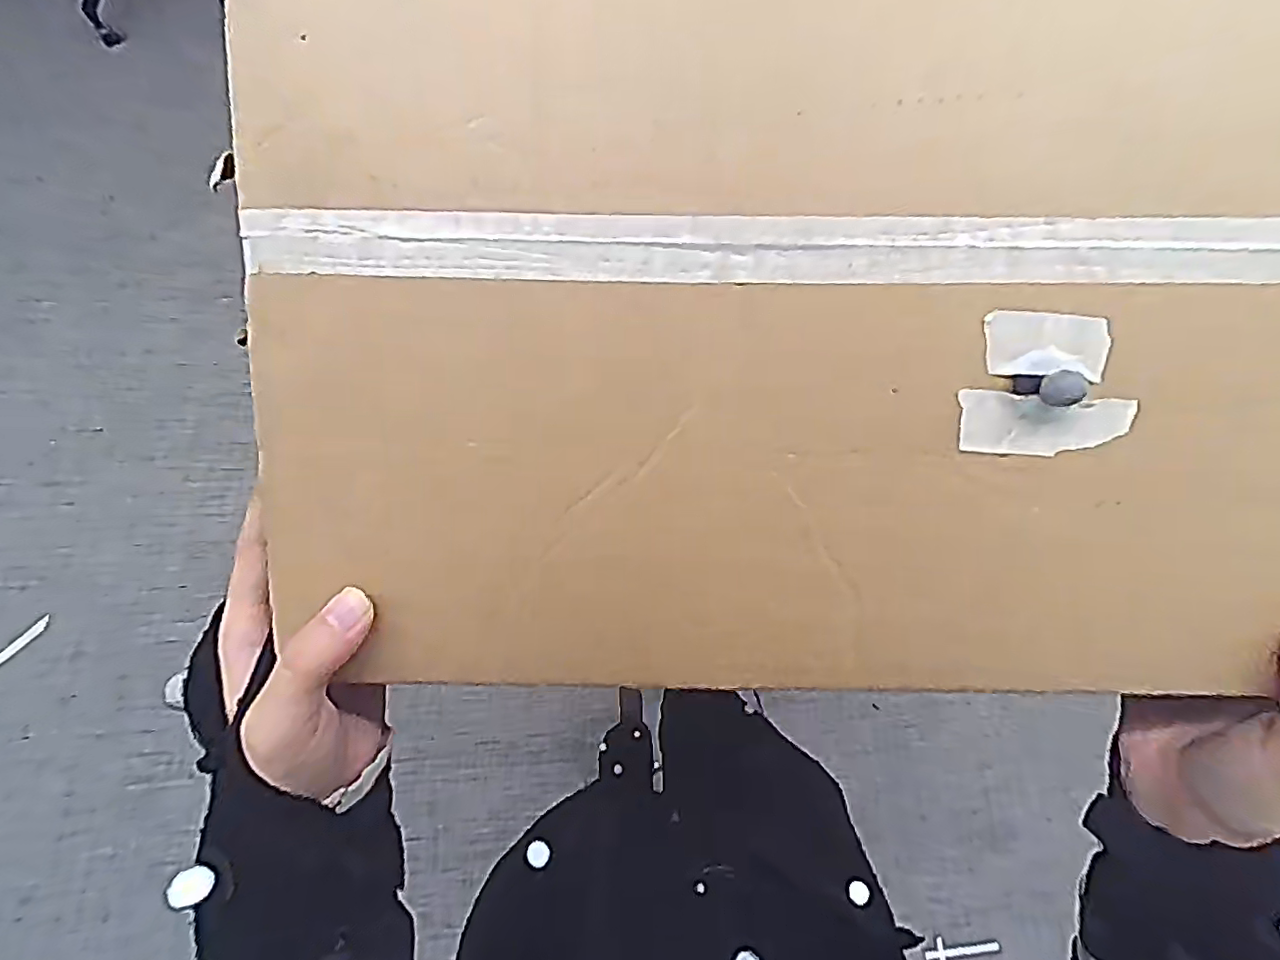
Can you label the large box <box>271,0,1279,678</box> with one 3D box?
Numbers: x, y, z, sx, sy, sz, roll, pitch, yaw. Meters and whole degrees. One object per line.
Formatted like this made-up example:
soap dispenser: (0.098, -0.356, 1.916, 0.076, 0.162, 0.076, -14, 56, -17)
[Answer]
large box: (0.067, -0.092, 0.345, 0.408, 0.320, 0.320, 0, 96, -1)
